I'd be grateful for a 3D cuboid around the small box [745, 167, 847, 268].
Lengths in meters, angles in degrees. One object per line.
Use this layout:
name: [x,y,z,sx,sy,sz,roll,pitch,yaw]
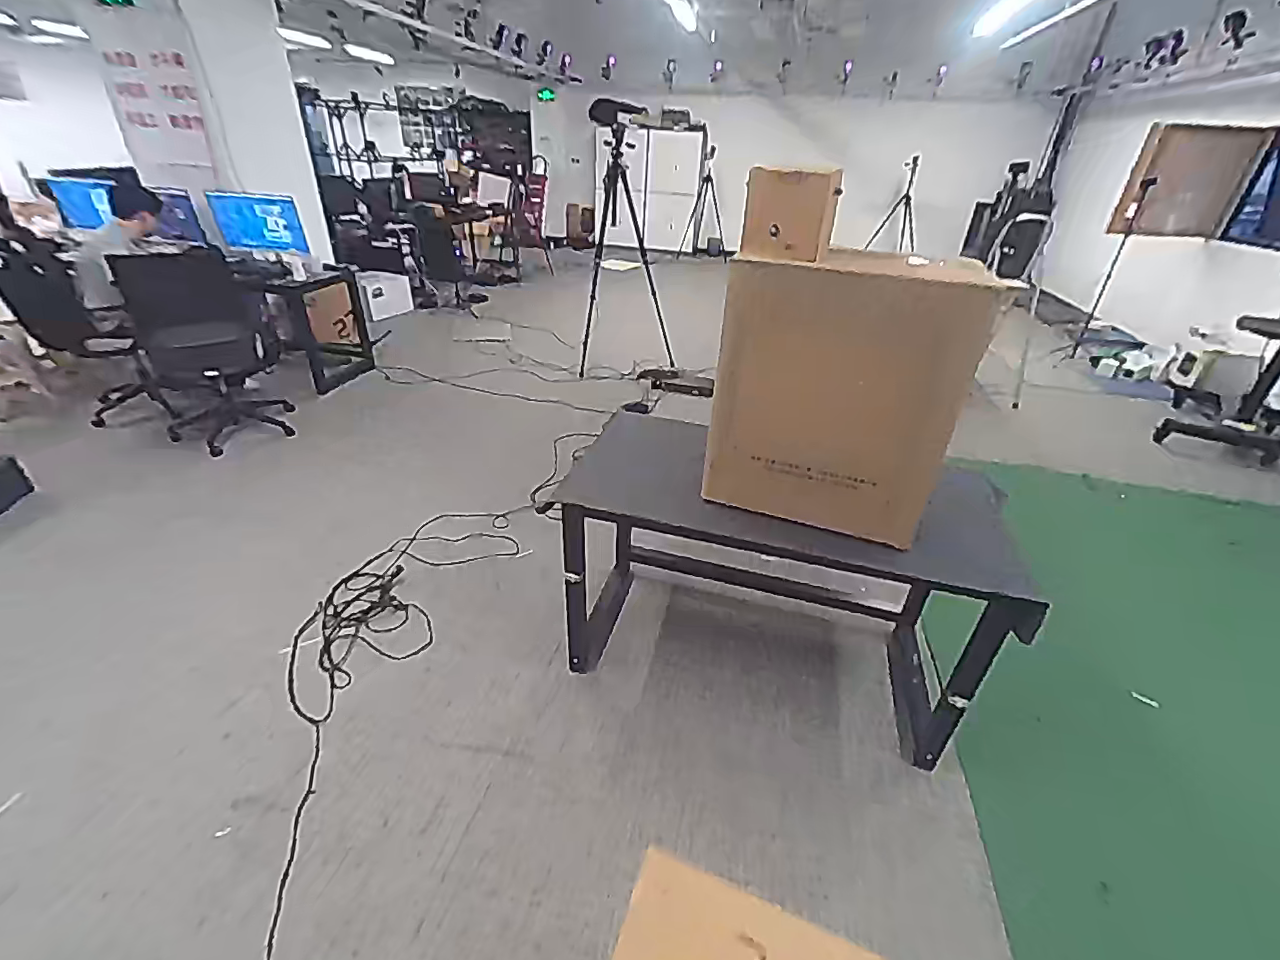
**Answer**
small box: [0.335,-0.572,1.171,0.168,0.176,0.179,16,36,20]
